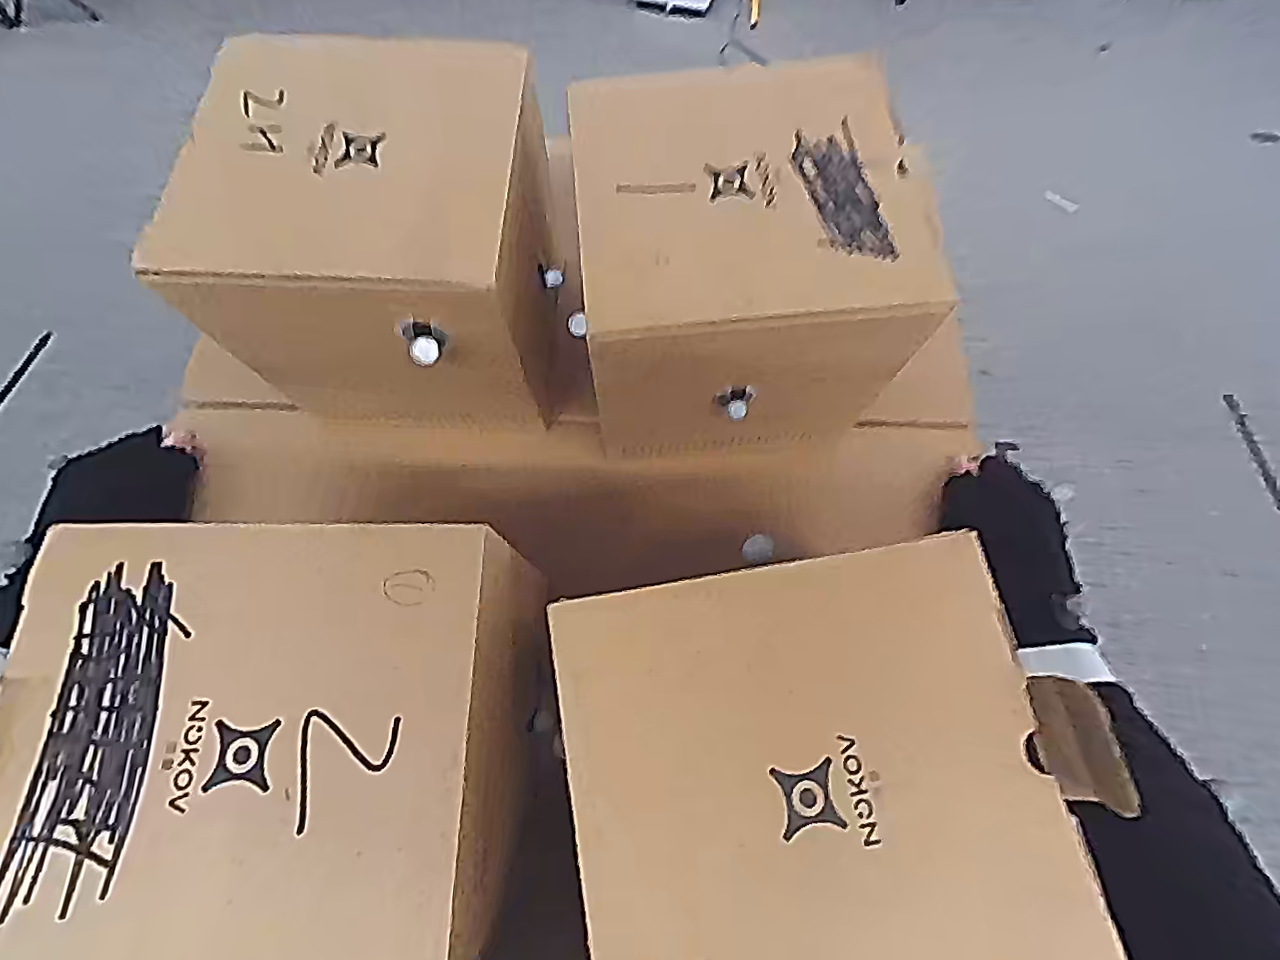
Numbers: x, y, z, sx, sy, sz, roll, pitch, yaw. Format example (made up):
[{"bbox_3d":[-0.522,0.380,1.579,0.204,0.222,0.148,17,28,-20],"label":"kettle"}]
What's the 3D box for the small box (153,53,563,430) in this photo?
[{"bbox_3d":[-0.153,-0.143,0.370,0.179,0.176,0.168,3,70,1],"label":"small box"}]
